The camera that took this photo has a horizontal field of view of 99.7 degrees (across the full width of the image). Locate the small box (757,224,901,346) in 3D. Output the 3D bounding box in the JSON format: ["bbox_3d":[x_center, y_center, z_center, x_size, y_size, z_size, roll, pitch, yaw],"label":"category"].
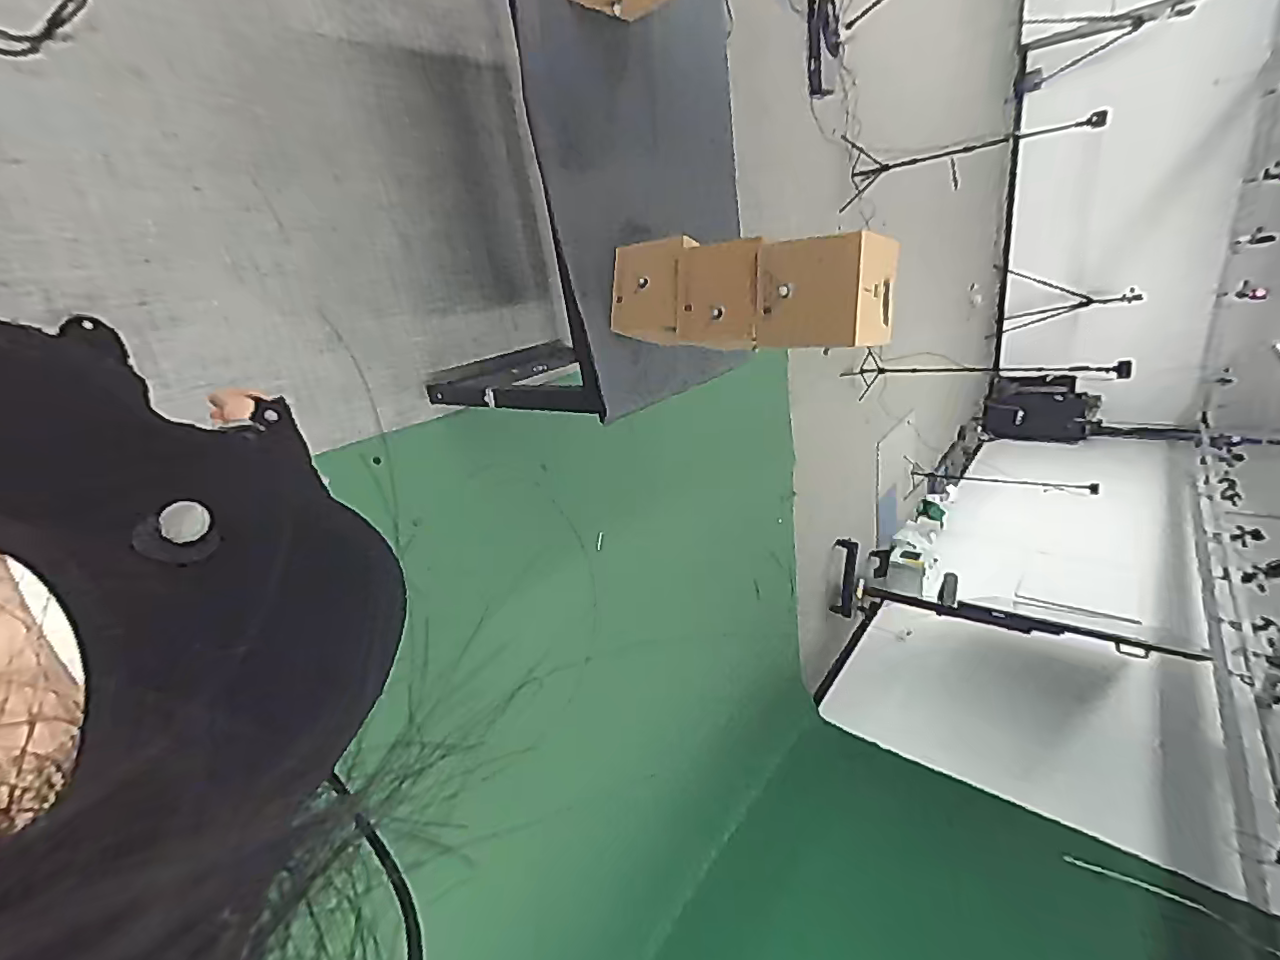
[{"bbox_3d":[0.308,-0.307,0.885,0.179,0.176,0.168,-18,111,-47],"label":"small box"}]

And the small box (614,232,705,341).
[{"bbox_3d":[0.065,-0.377,1.093,0.179,0.176,0.168,-2,99,-52],"label":"small box"}]

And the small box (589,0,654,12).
[{"bbox_3d":[-0.022,-0.917,0.893,0.179,0.176,0.168,-30,119,-44],"label":"small box"}]

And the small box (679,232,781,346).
[{"bbox_3d":[0.185,-0.337,0.990,0.179,0.176,0.168,-10,106,-51],"label":"small box"}]
